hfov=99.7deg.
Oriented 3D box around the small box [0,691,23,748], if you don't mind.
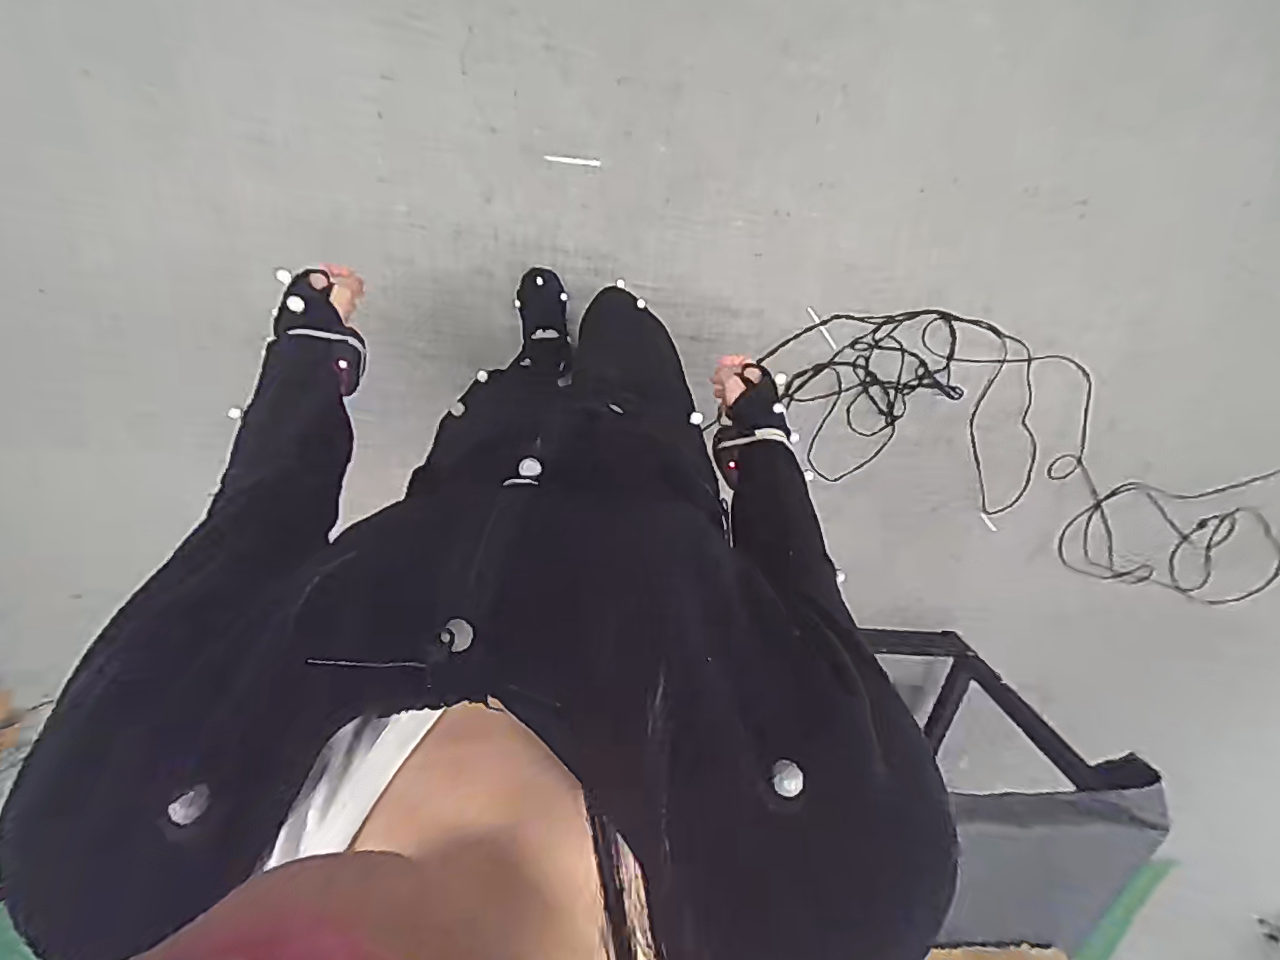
[{"bbox_3d":[-1.956,0.720,1.545,0.179,0.176,0.168,6,112,-10],"label":"small box"}]
